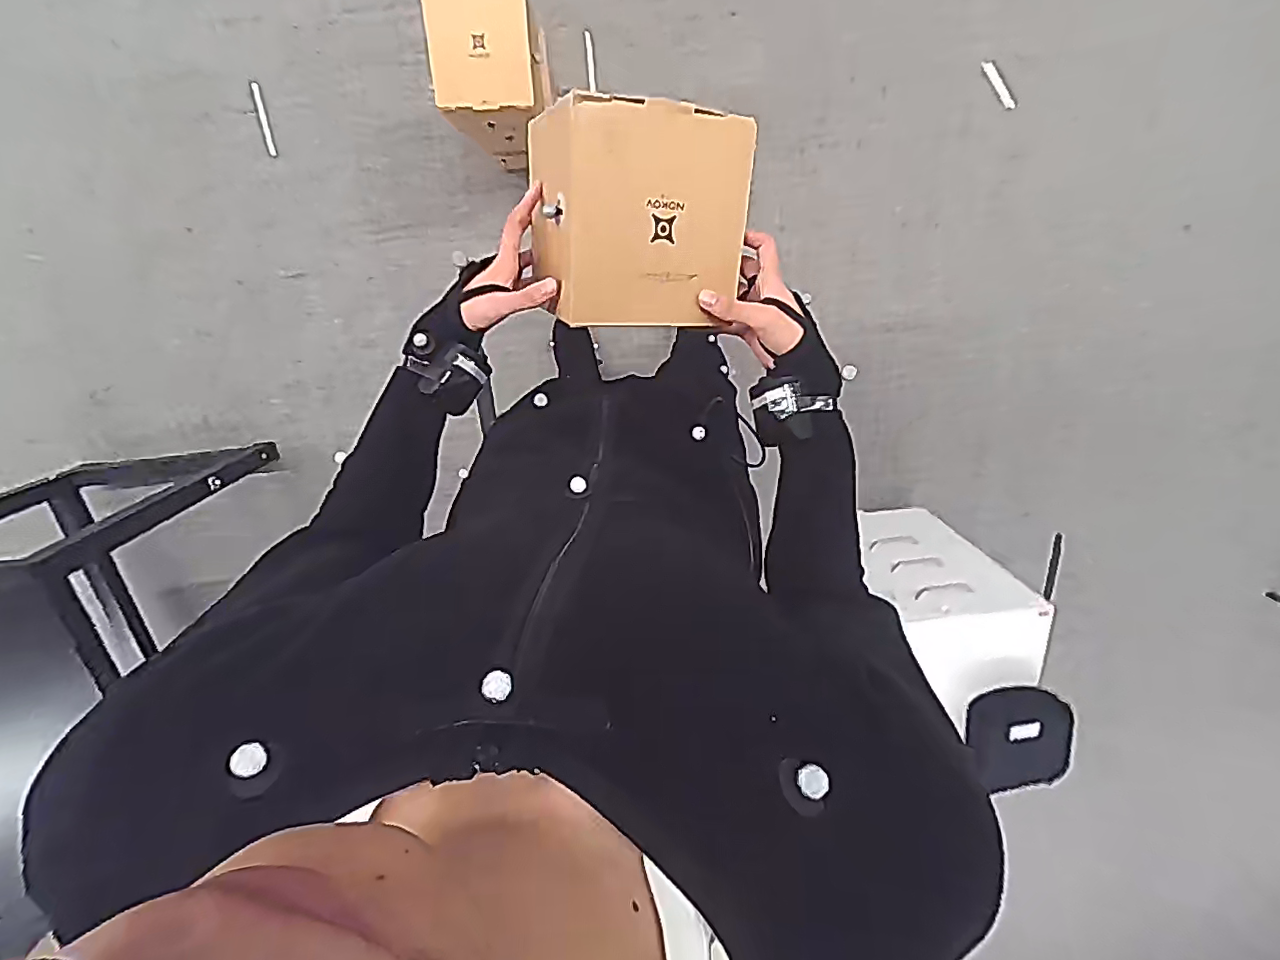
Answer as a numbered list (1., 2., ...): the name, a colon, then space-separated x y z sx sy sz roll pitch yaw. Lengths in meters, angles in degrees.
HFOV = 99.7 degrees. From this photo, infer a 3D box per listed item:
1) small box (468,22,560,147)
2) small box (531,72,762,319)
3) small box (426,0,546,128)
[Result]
1. small box: -0.255 -0.789 1.095 0.179 0.176 0.168 -5 111 -2
2. small box: -0.008 -0.258 0.523 0.168 0.176 0.179 -6 117 -21
3. small box: -0.259 -0.736 0.941 0.168 0.176 0.179 -3 112 -2
